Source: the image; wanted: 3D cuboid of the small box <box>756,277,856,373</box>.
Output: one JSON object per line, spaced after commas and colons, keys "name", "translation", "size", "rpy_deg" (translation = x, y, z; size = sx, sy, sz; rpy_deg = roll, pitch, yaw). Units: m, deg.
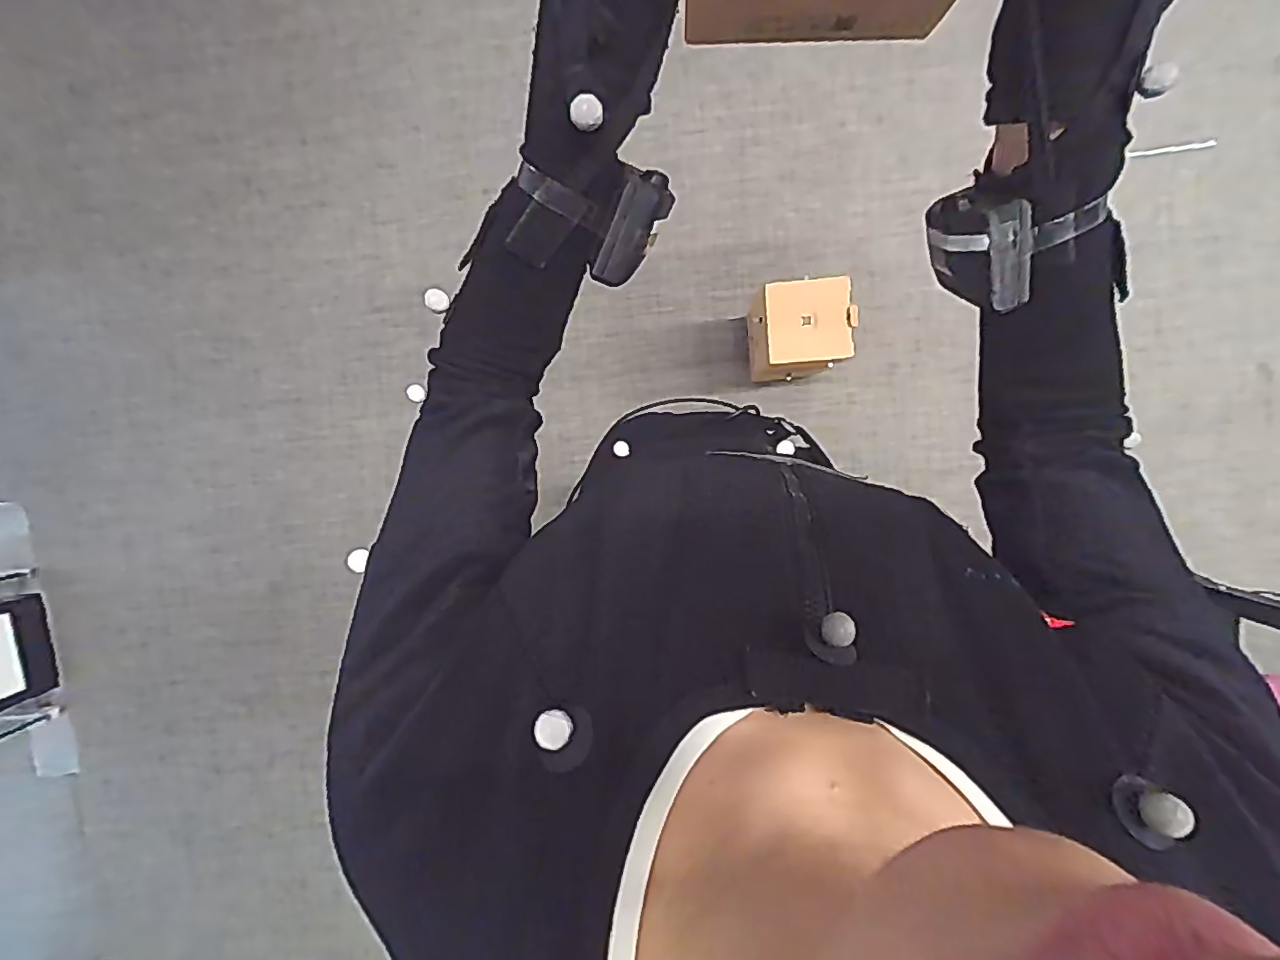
{"name": "small box", "translation": [0.354, -0.331, 1.185], "size": [0.179, 0.176, 0.168], "rpy_deg": [-5, 95, 3]}
